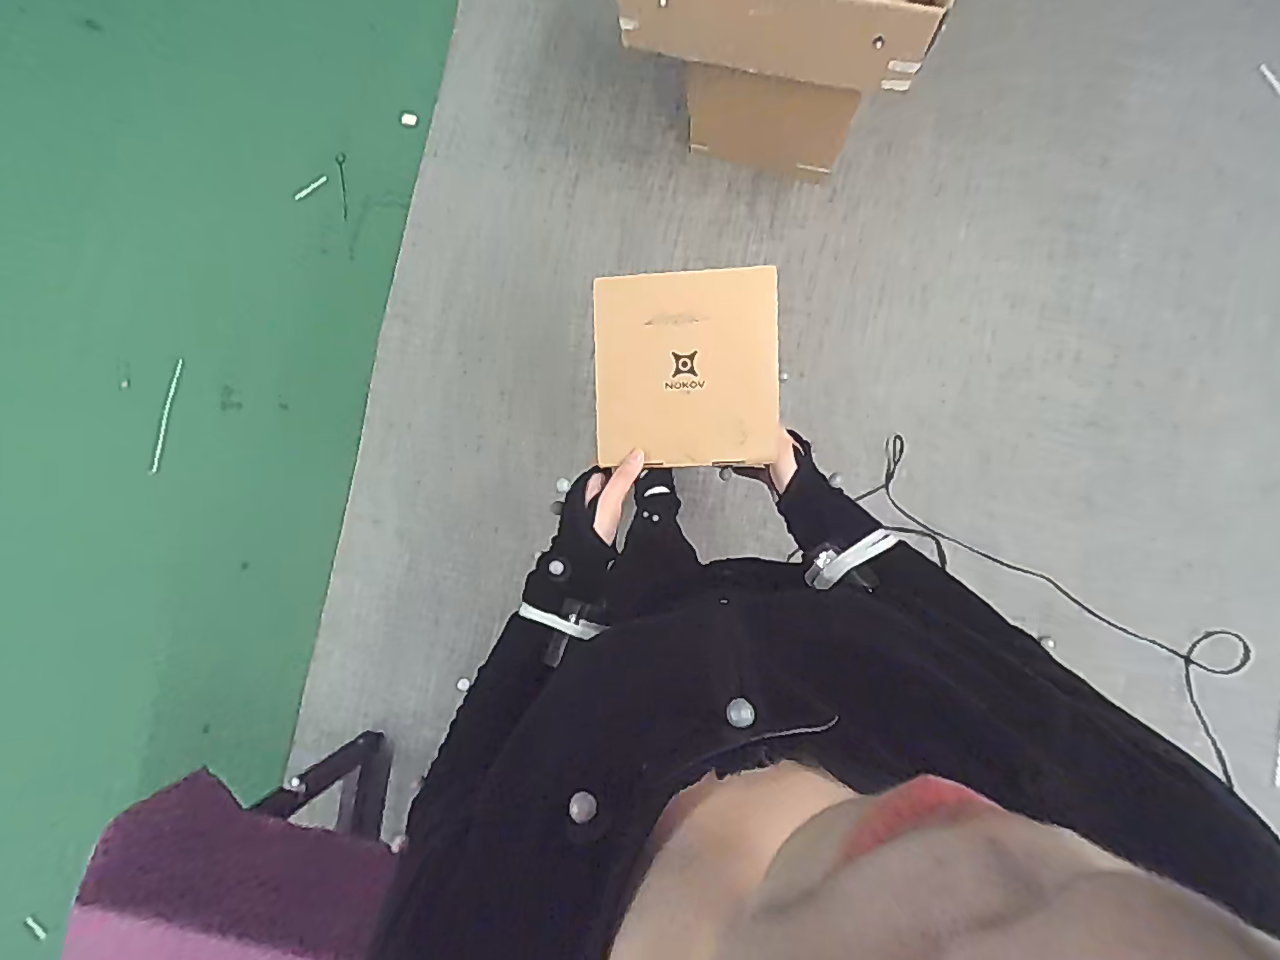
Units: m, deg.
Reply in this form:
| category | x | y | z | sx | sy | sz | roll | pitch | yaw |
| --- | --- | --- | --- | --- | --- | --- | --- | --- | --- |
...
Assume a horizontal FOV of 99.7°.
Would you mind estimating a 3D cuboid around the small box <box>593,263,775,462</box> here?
| category | x | y | z | sx | sy | sz | roll | pitch | yaw |
| --- | --- | --- | --- | --- | --- | --- | --- | --- | --- |
| small box | 0.048 | -0.107 | 0.566 | 0.168 | 0.176 | 0.179 | 0 | 91 | 7 |
